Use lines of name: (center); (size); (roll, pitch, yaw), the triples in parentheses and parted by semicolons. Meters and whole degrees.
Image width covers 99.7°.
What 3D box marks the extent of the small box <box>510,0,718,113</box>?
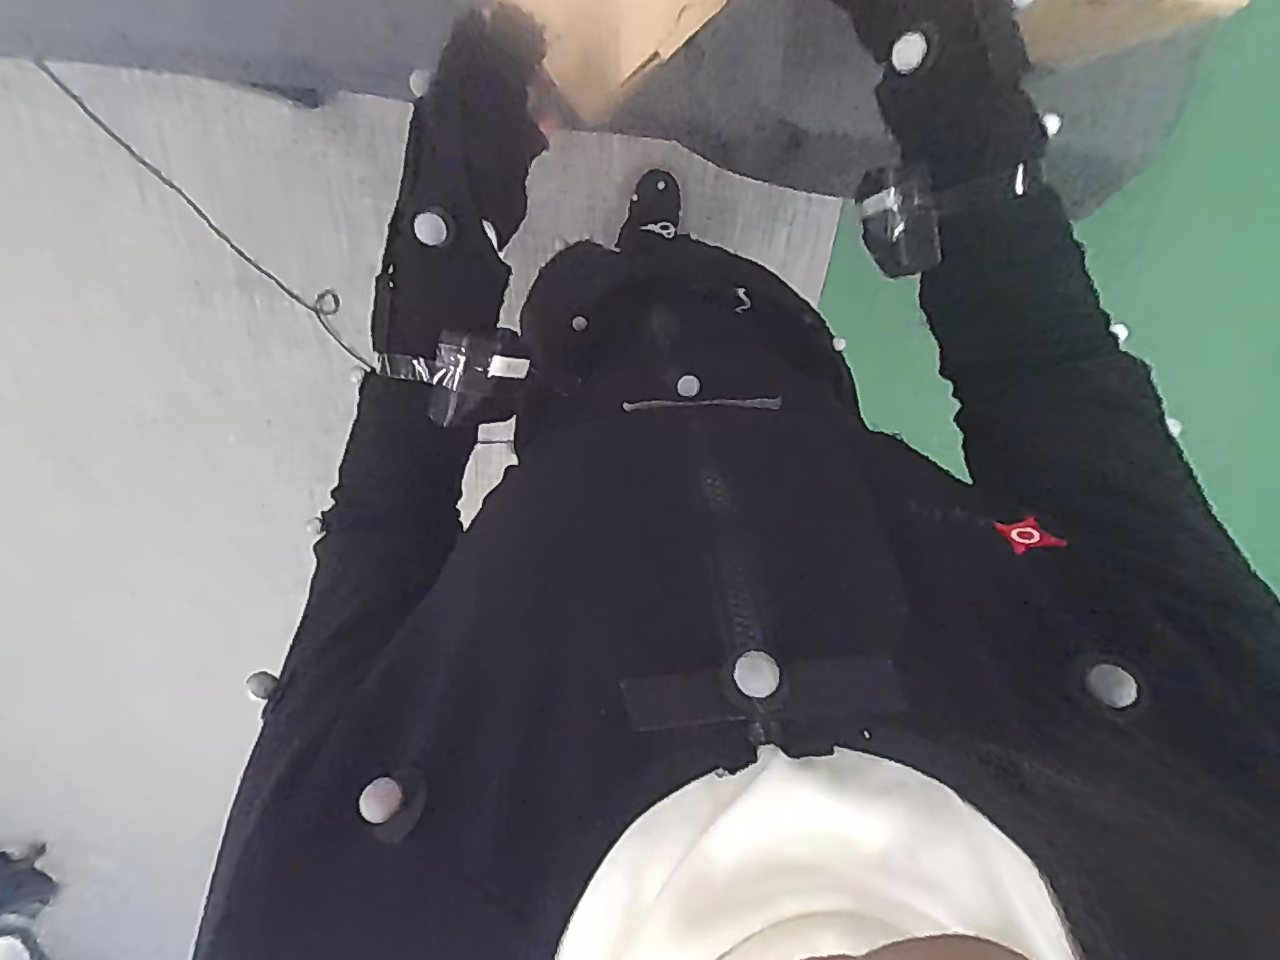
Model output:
small box: (-0.018, -0.372, 0.336); (0.168, 0.176, 0.179); (-33, 118, 23)

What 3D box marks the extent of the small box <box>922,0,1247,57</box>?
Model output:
small box: (0.343, -0.443, 0.398); (0.168, 0.176, 0.179); (4, 116, -6)
